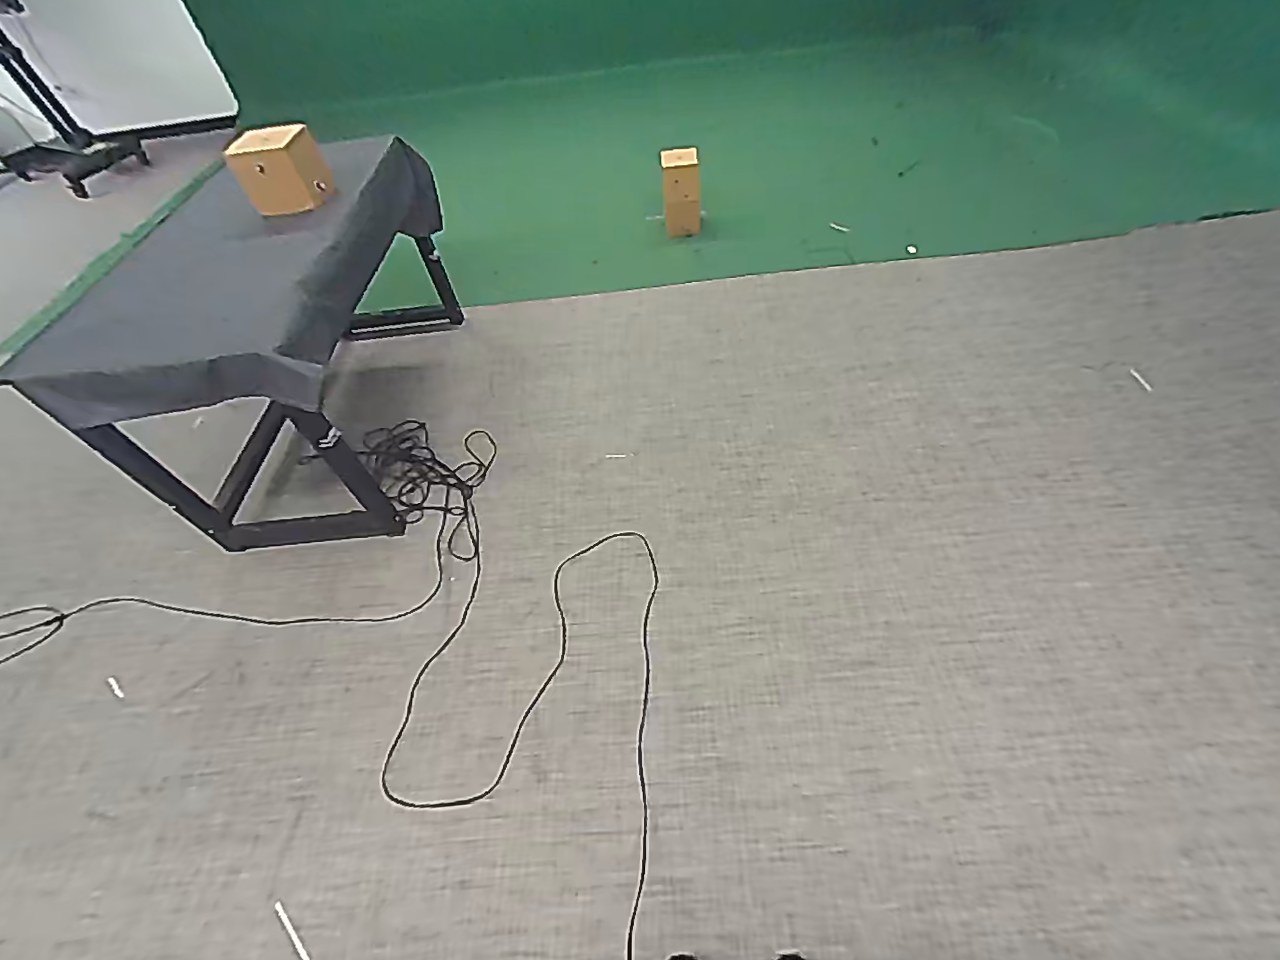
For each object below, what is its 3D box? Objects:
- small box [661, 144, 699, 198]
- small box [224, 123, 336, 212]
[{"bbox_3d":[0.191,-1.453,2.555,0.168,0.176,0.179,-4,51,4],"label":"small box"},{"bbox_3d":[-1.013,-0.882,1.536,0.179,0.176,0.168,-4,52,3],"label":"small box"}]
